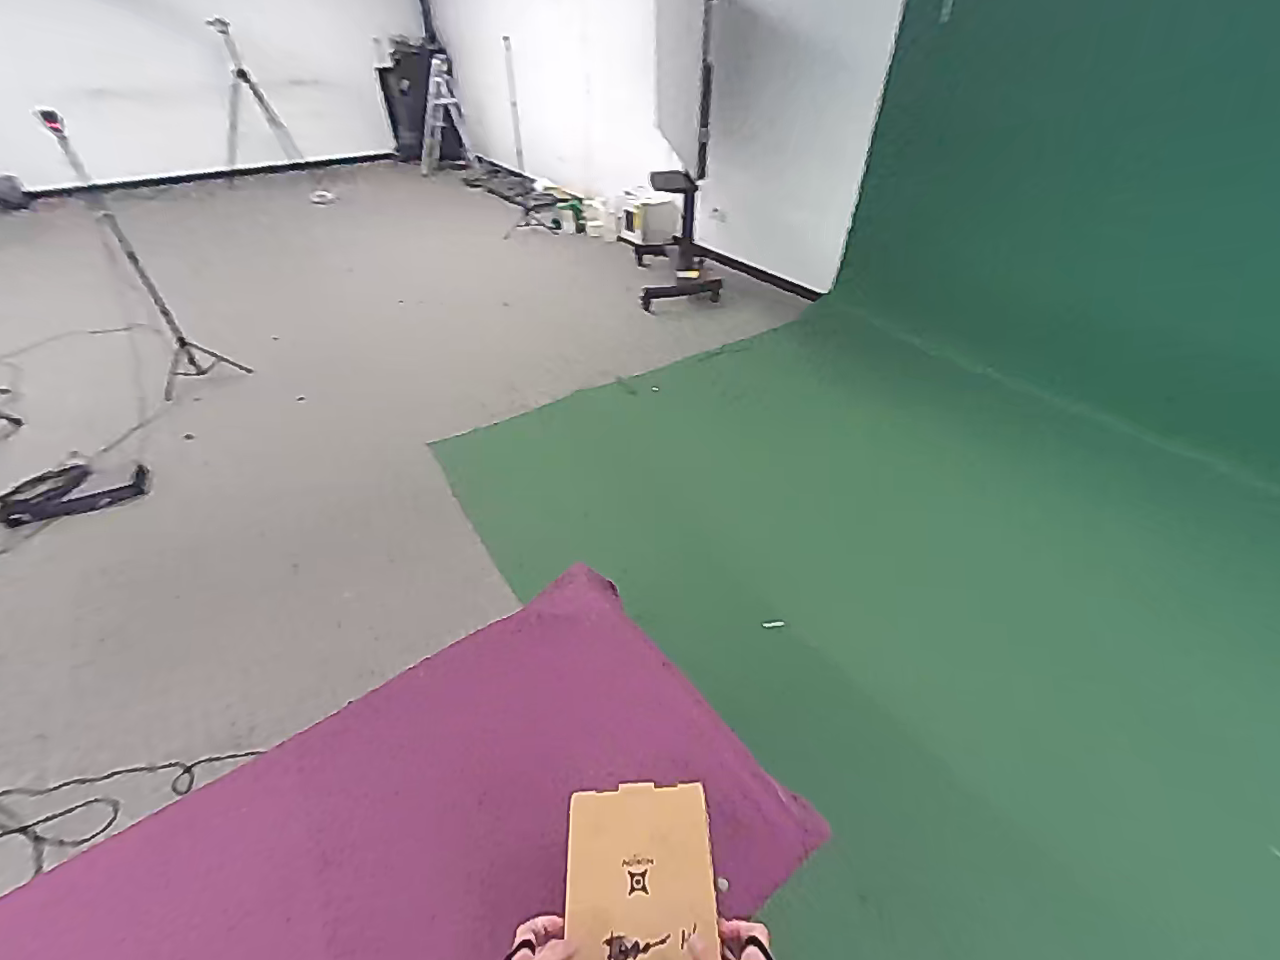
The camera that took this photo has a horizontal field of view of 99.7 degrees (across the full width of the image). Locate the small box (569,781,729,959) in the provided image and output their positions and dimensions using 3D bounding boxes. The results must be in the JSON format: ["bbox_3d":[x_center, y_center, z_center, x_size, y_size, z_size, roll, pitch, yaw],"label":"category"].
[{"bbox_3d":[0.015,0.491,0.658,0.168,0.176,0.179,-7,46,4],"label":"small box"}]
